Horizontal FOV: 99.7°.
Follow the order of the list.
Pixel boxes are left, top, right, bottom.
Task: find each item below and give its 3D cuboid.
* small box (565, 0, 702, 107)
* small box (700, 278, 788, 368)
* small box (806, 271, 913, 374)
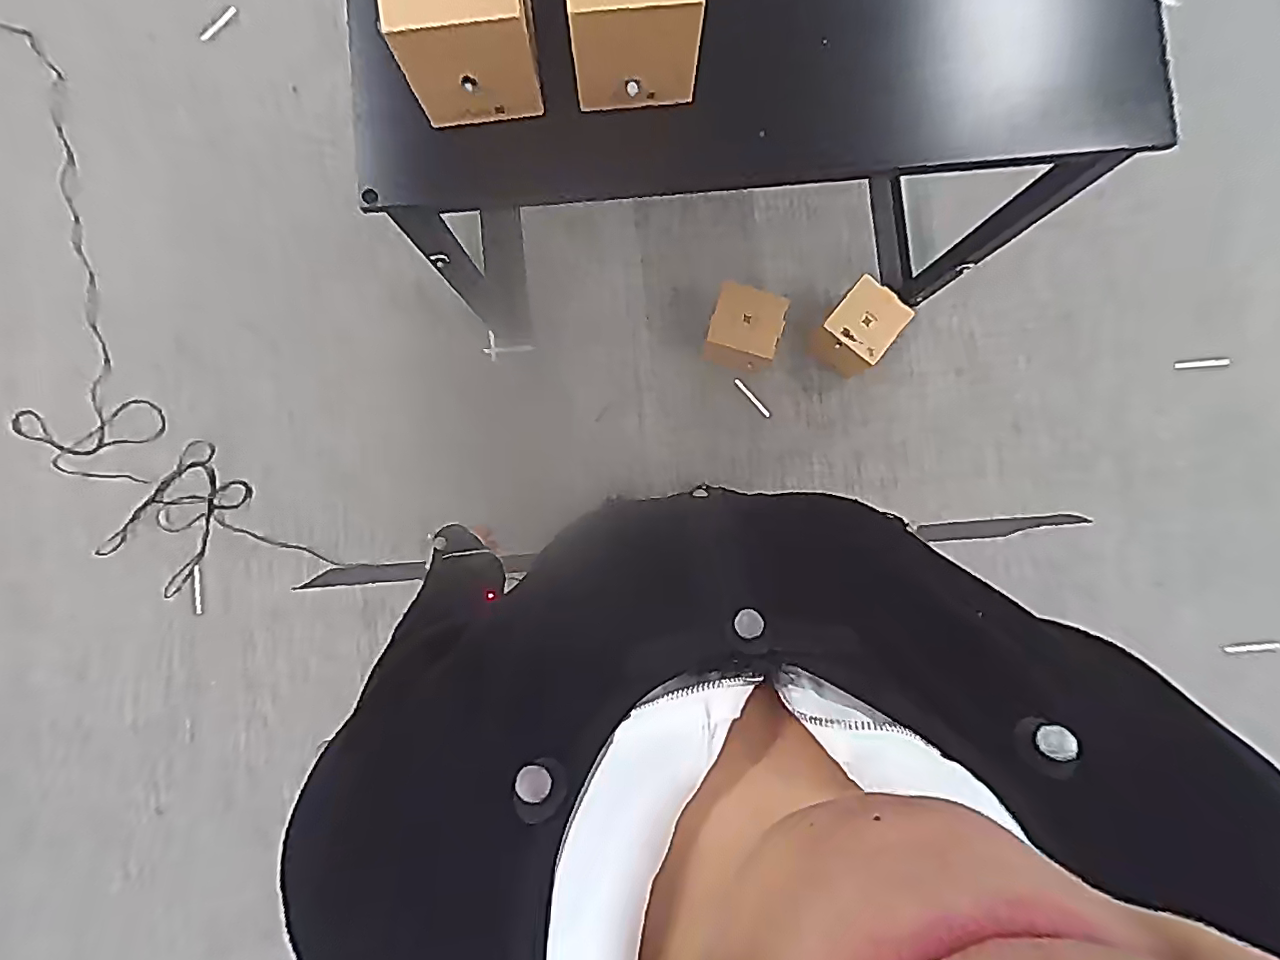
[{"bbox_3d":[-0.014,-0.642,0.718,0.168,0.176,0.179,-5,89,0],"label":"small box"},{"bbox_3d":[0.270,-0.409,1.444,0.179,0.176,0.168,16,88,1],"label":"small box"},{"bbox_3d":[0.574,-0.412,1.441,0.168,0.176,0.179,39,89,1],"label":"small box"}]
